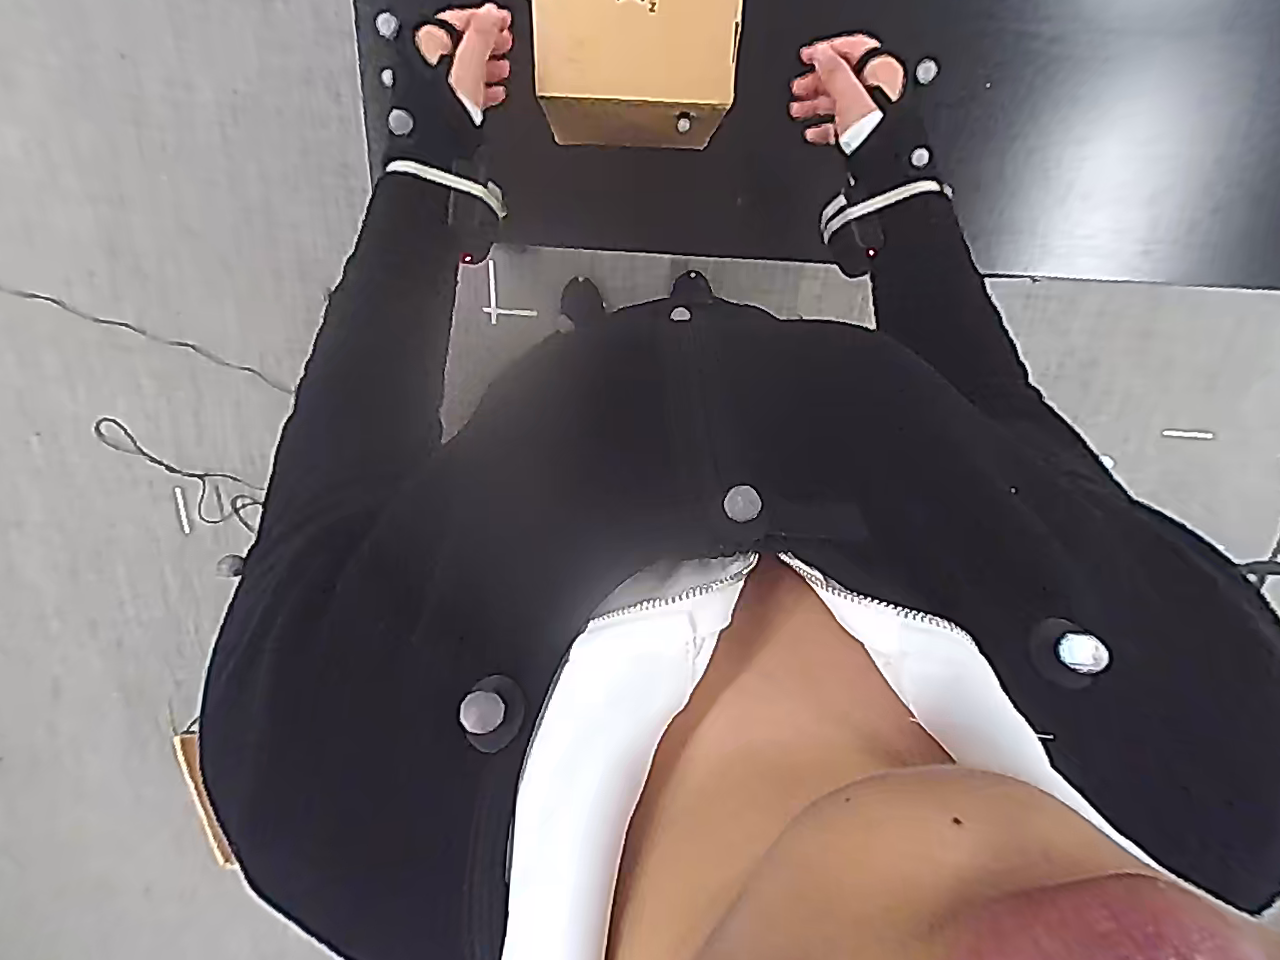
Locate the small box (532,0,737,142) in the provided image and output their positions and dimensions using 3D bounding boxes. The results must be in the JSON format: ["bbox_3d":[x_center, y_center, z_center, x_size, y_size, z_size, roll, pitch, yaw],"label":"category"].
[{"bbox_3d":[-0.007,-0.444,0.527,0.179,0.176,0.168,0,110,-4],"label":"small box"}]
